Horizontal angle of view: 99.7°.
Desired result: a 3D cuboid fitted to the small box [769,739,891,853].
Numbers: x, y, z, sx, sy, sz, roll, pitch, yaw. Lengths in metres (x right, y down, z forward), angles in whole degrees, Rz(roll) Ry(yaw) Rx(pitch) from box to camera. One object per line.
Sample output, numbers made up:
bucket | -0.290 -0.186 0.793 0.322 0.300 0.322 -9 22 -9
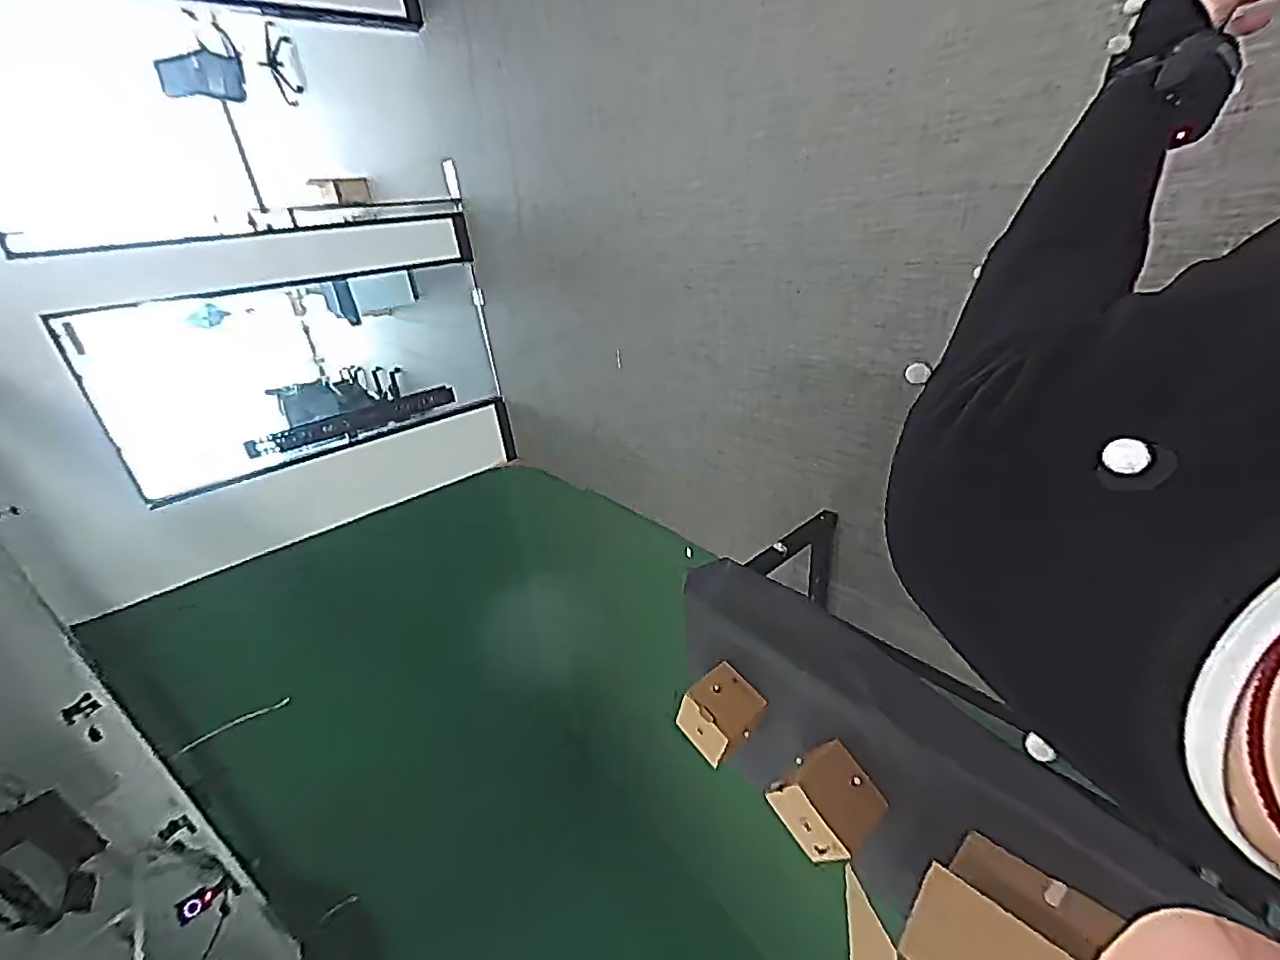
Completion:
small box | 0.451 0.746 1.293 0.179 0.176 0.168 53 145 20

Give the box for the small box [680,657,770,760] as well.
small box | 0.240 0.637 1.524 0.168 0.176 0.179 42 141 34
